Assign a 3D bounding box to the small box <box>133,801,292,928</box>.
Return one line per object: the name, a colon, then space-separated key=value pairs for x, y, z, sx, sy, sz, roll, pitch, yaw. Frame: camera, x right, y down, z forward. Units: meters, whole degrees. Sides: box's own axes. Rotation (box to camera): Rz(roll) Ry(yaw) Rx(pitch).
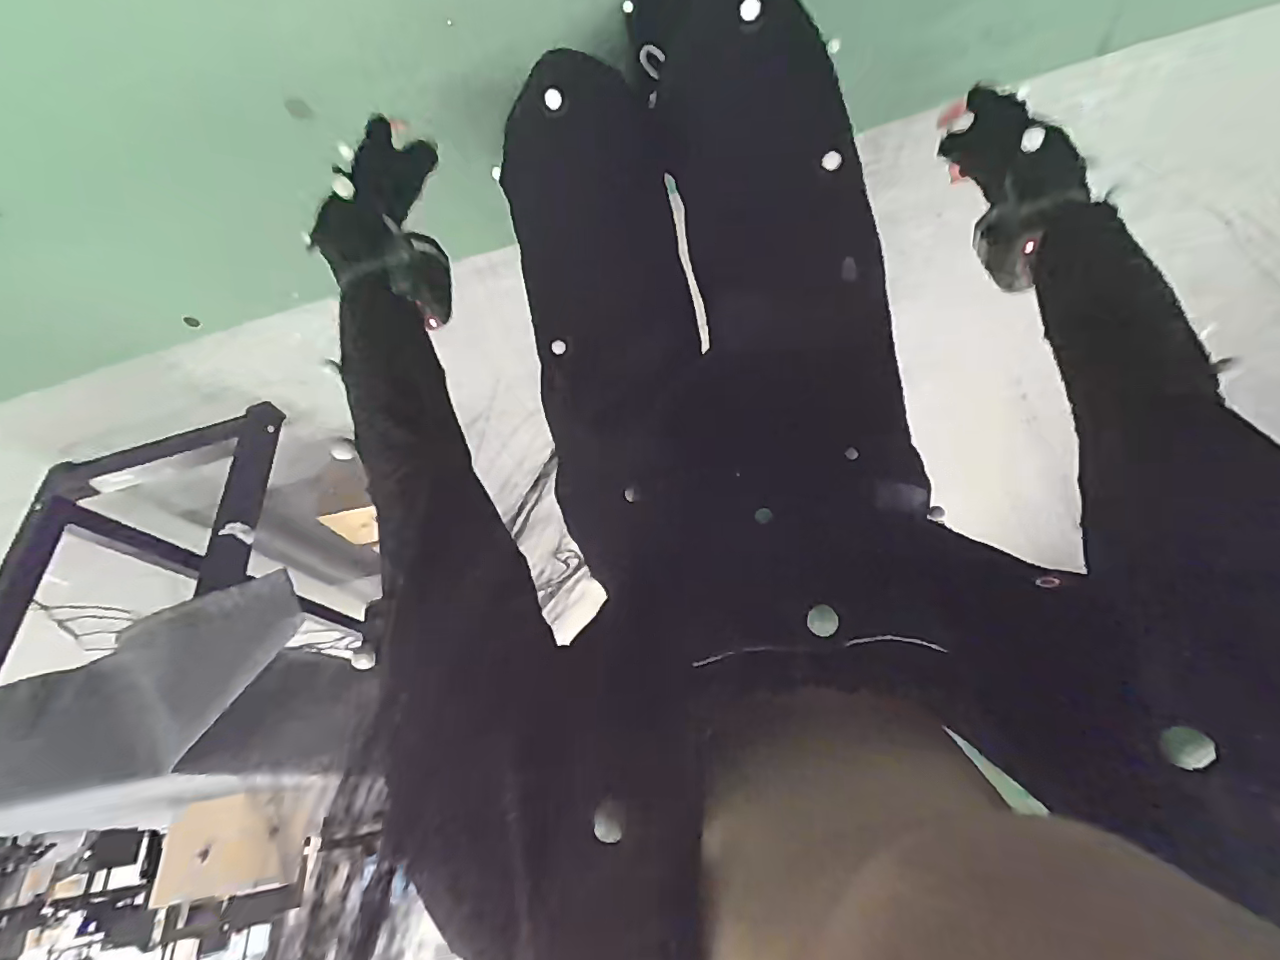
small box: x=-0.815 y=0.737 z=1.055 sx=0.179 sy=0.176 sz=0.168 roll=-16 pitch=148 yaw=7
